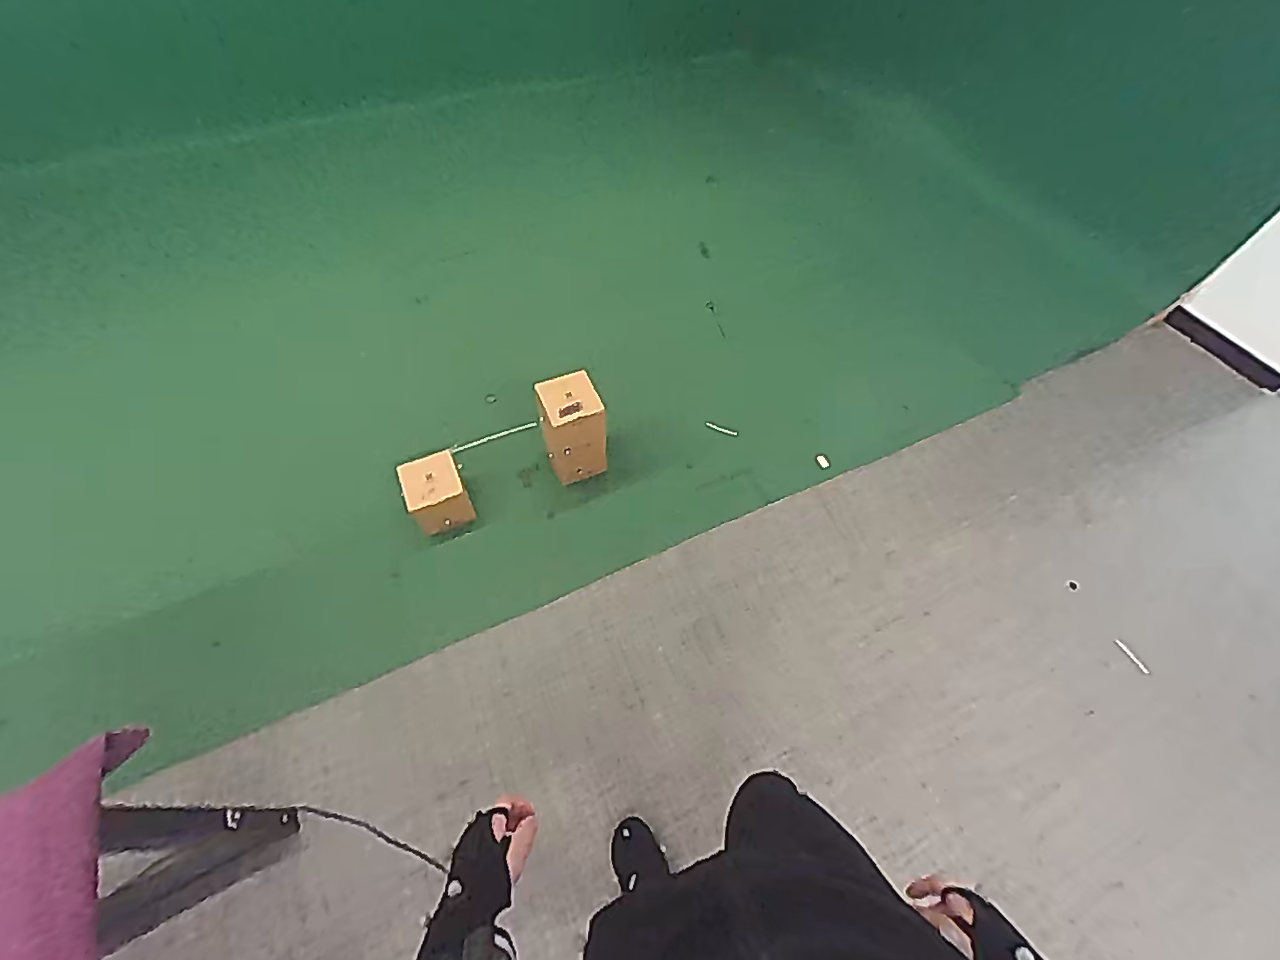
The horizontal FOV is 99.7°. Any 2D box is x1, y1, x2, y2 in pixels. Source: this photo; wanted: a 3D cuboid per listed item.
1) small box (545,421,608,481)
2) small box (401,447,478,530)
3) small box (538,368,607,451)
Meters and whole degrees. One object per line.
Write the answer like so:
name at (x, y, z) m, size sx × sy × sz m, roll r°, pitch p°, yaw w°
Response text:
small box at (-0.214, -0.125, 1.820) m, size 0.168 × 0.176 × 0.179 m, roll -20°, pitch 62°, yaw -14°
small box at (-0.629, 0.029, 1.704) m, size 0.168 × 0.176 × 0.179 m, roll -21°, pitch 61°, yaw -14°
small box at (-0.206, -0.211, 1.680) m, size 0.168 × 0.176 × 0.179 m, roll -19°, pitch 61°, yaw -15°
